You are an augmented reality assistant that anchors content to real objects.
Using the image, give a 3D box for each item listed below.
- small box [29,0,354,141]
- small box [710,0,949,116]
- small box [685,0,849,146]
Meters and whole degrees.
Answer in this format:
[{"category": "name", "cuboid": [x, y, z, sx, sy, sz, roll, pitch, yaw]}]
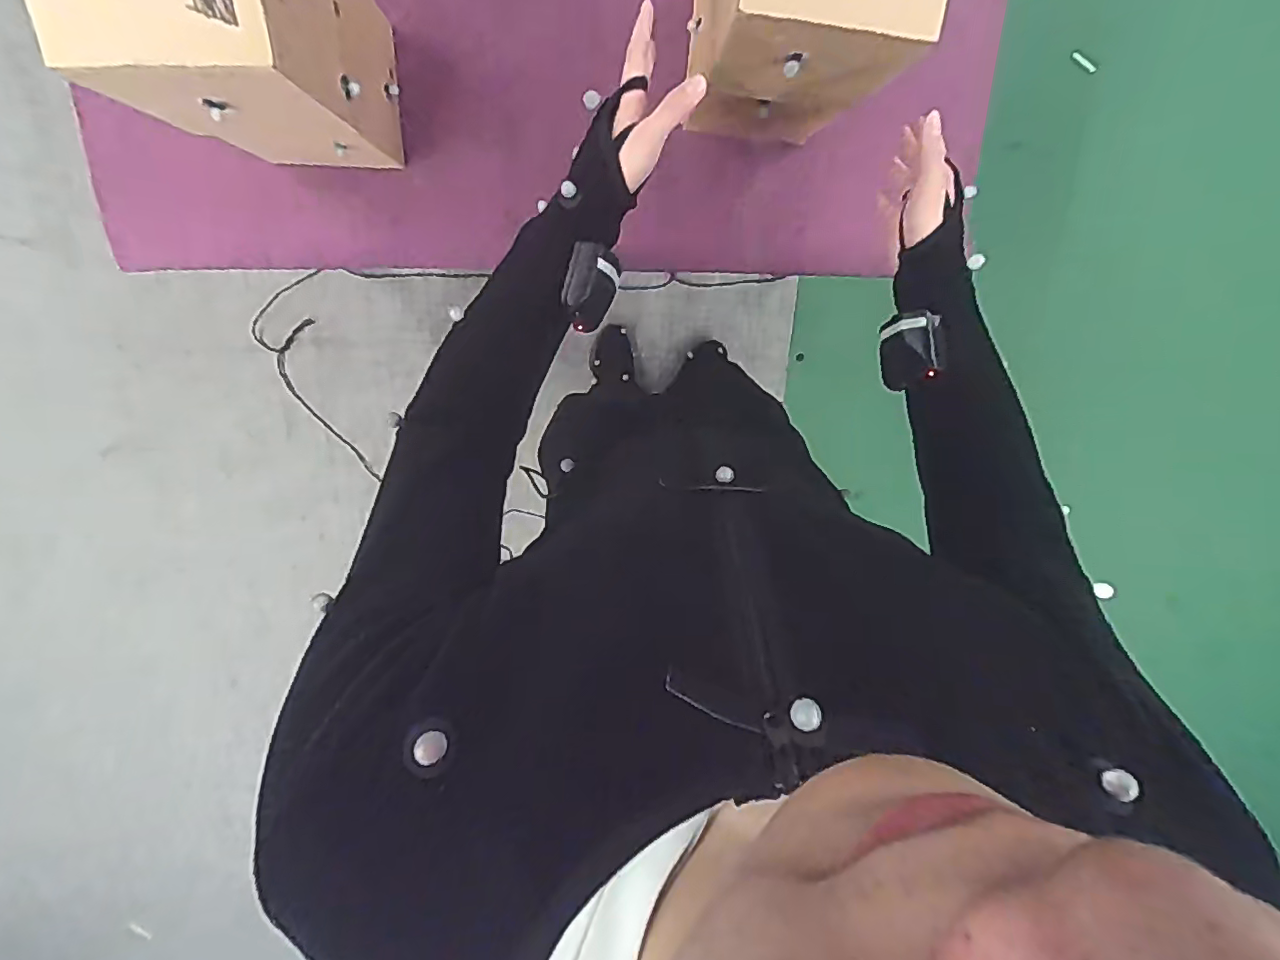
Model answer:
[{"category": "small box", "cuboid": [-0.375, -0.416, 0.474, 0.179, 0.176, 0.168, -3, 107, -4]}, {"category": "small box", "cuboid": [0.170, -0.467, 0.503, 0.179, 0.176, 0.168, 5, 106, -5]}, {"category": "small box", "cuboid": [0.160, -0.526, 0.657, 0.179, 0.176, 0.168, 4, 107, -4]}]
